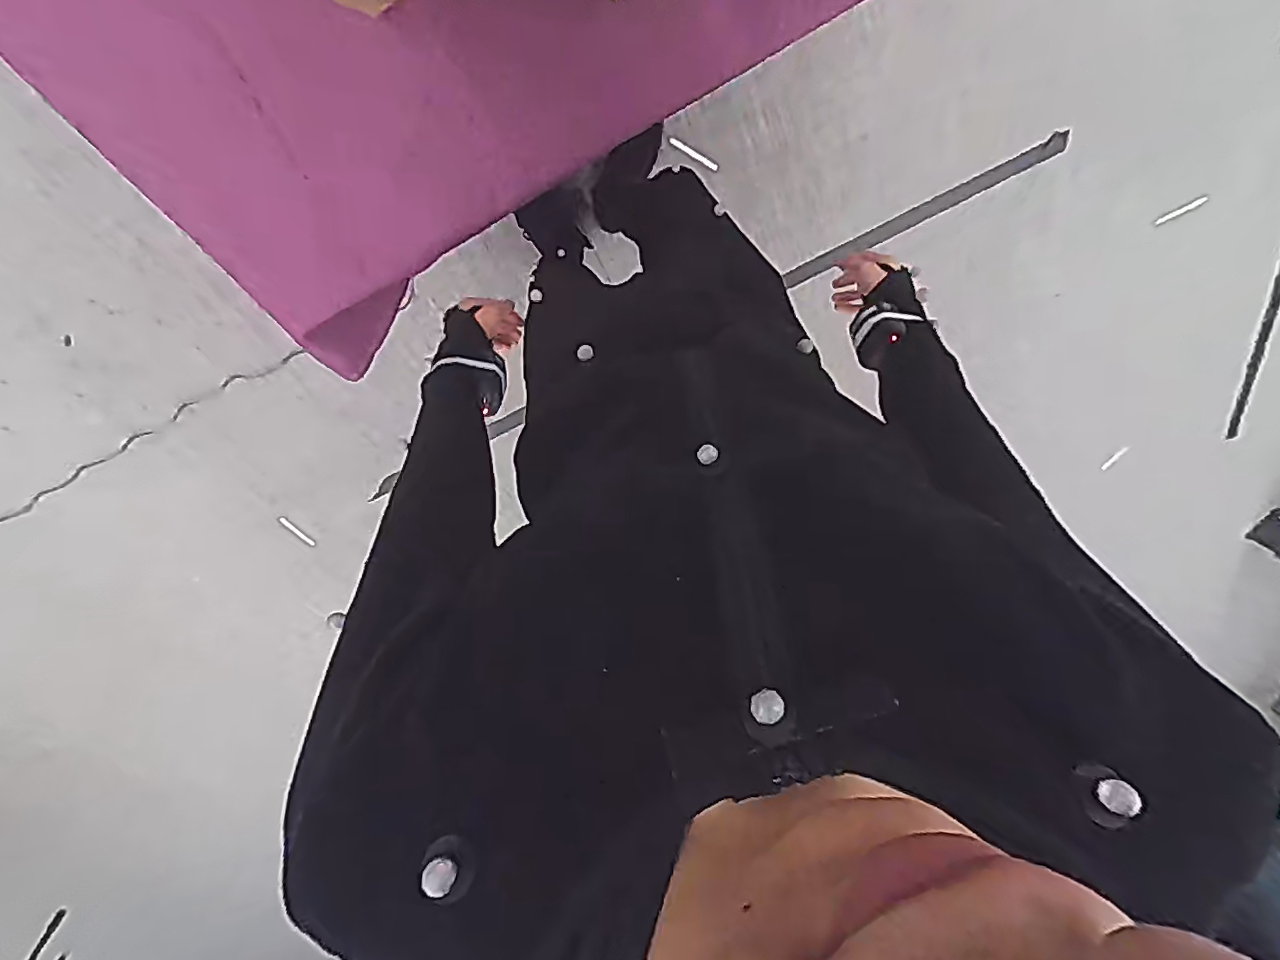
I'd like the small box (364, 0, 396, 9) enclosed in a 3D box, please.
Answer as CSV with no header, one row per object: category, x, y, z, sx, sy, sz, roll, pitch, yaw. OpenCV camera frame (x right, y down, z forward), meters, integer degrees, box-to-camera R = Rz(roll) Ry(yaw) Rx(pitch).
small box,-0.222,-0.517,0.421,0.168,0.176,0.179,-26,127,7
